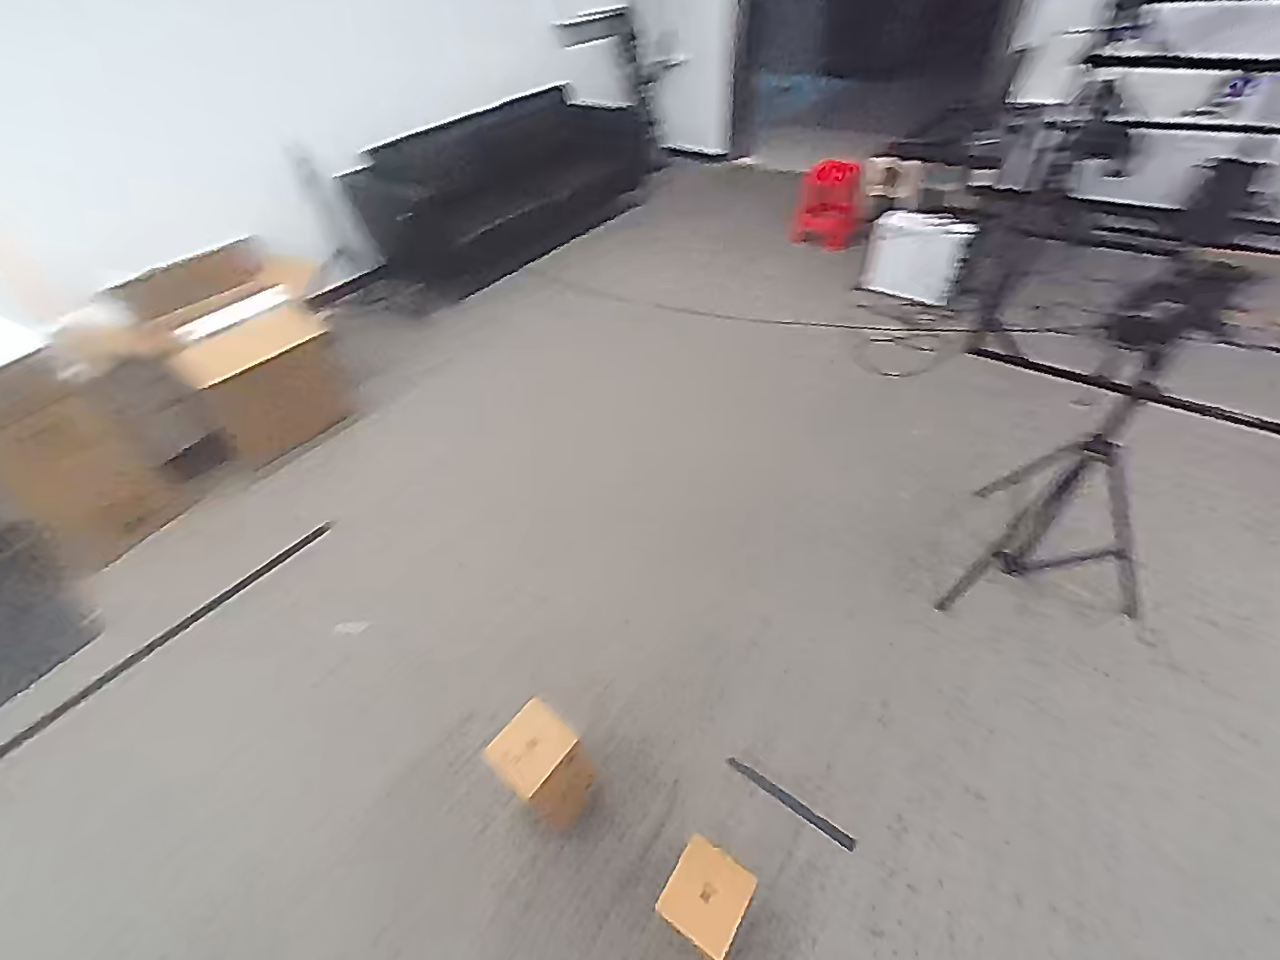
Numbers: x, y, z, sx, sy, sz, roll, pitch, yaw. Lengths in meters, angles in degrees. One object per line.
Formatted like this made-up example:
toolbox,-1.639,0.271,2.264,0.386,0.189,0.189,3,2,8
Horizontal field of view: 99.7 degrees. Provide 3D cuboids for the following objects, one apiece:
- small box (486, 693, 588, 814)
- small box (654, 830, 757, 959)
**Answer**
small box,-0.242,0.670,1.323,0.168,0.176,0.179,28,54,31
small box,0.152,0.952,1.230,0.168,0.176,0.179,24,51,27
